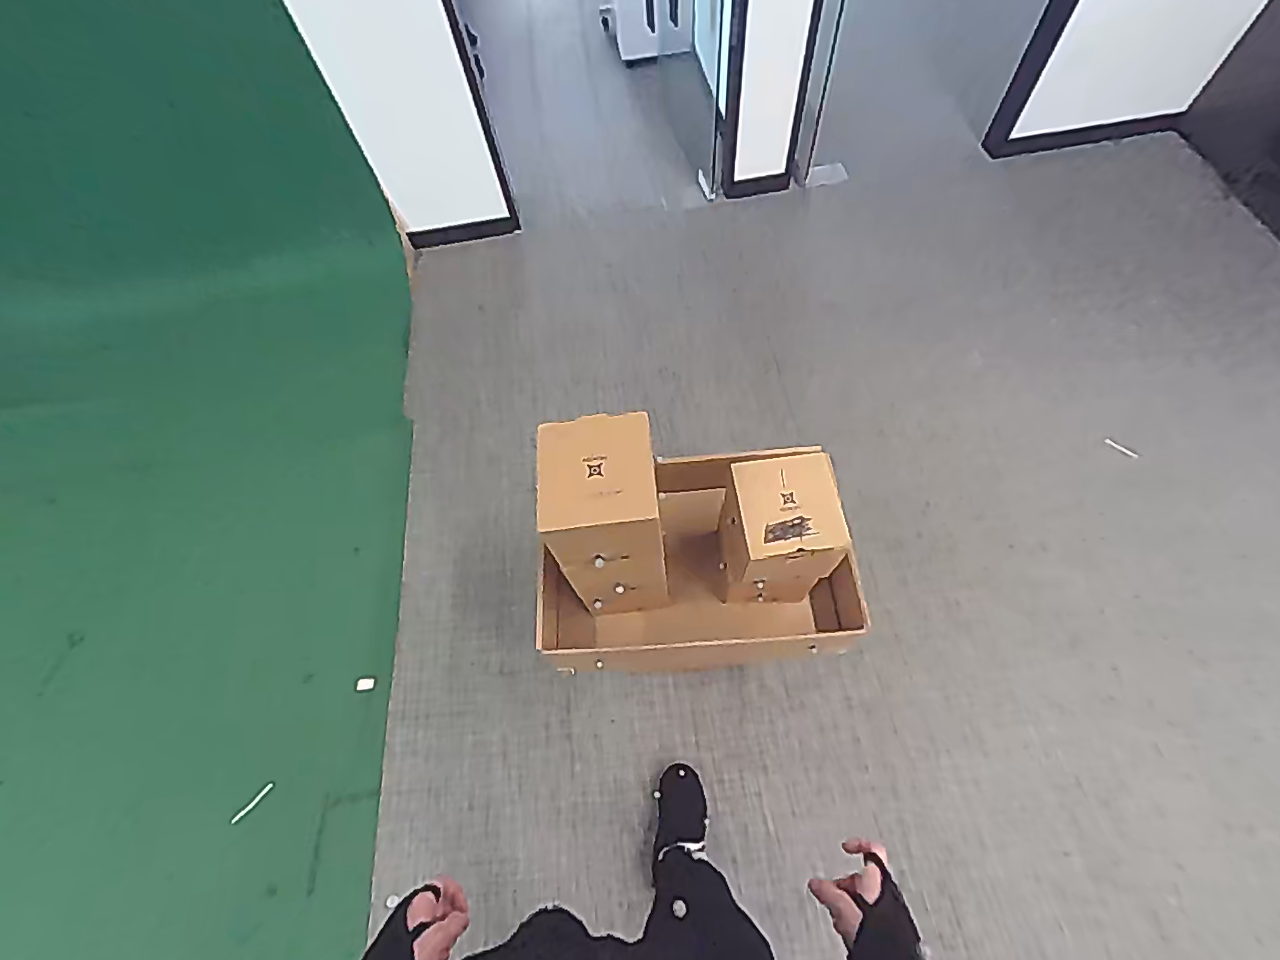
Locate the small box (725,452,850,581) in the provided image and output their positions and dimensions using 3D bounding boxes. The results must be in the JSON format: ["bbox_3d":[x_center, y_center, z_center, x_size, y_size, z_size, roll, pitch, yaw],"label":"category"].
[{"bbox_3d":[0.249,0.073,0.958,0.168,0.176,0.179,-7,62,0],"label":"small box"}]

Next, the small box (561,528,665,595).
[{"bbox_3d":[-0.046,0.092,0.968,0.168,0.176,0.179,-7,62,1],"label":"small box"}]

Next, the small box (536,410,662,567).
[{"bbox_3d":[-0.057,0.018,0.824,0.168,0.176,0.179,-6,62,2],"label":"small box"}]
